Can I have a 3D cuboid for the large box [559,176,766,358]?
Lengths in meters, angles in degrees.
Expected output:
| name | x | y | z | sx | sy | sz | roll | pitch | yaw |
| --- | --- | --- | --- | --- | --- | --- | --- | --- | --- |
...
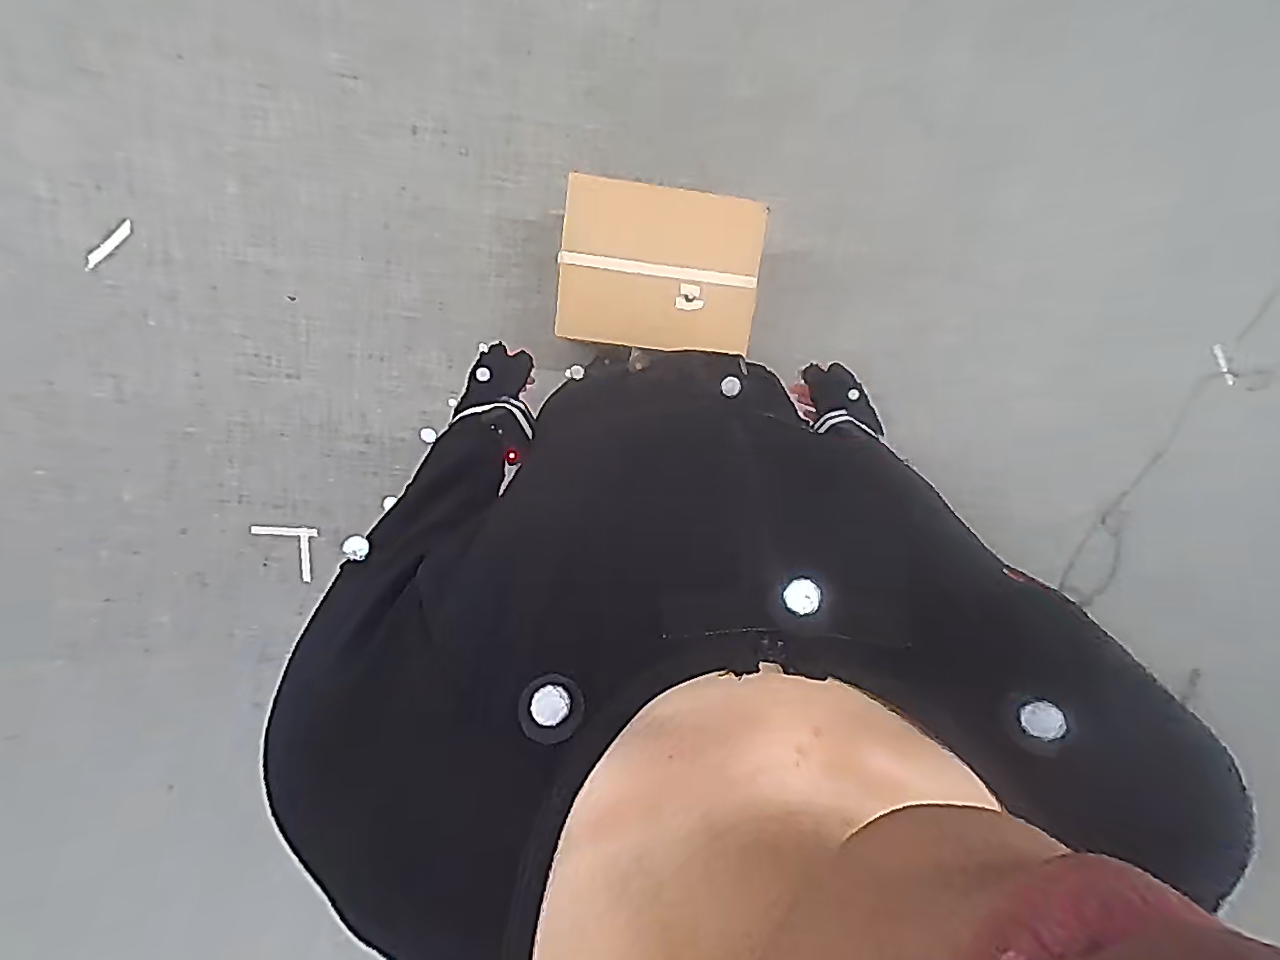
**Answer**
| name | x | y | z | sx | sy | sz | roll | pitch | yaw |
| --- | --- | --- | --- | --- | --- | --- | --- | --- | --- |
| large box | 0.031 | -0.459 | 1.246 | 0.408 | 0.320 | 0.320 | 6 | 102 | -5 |
